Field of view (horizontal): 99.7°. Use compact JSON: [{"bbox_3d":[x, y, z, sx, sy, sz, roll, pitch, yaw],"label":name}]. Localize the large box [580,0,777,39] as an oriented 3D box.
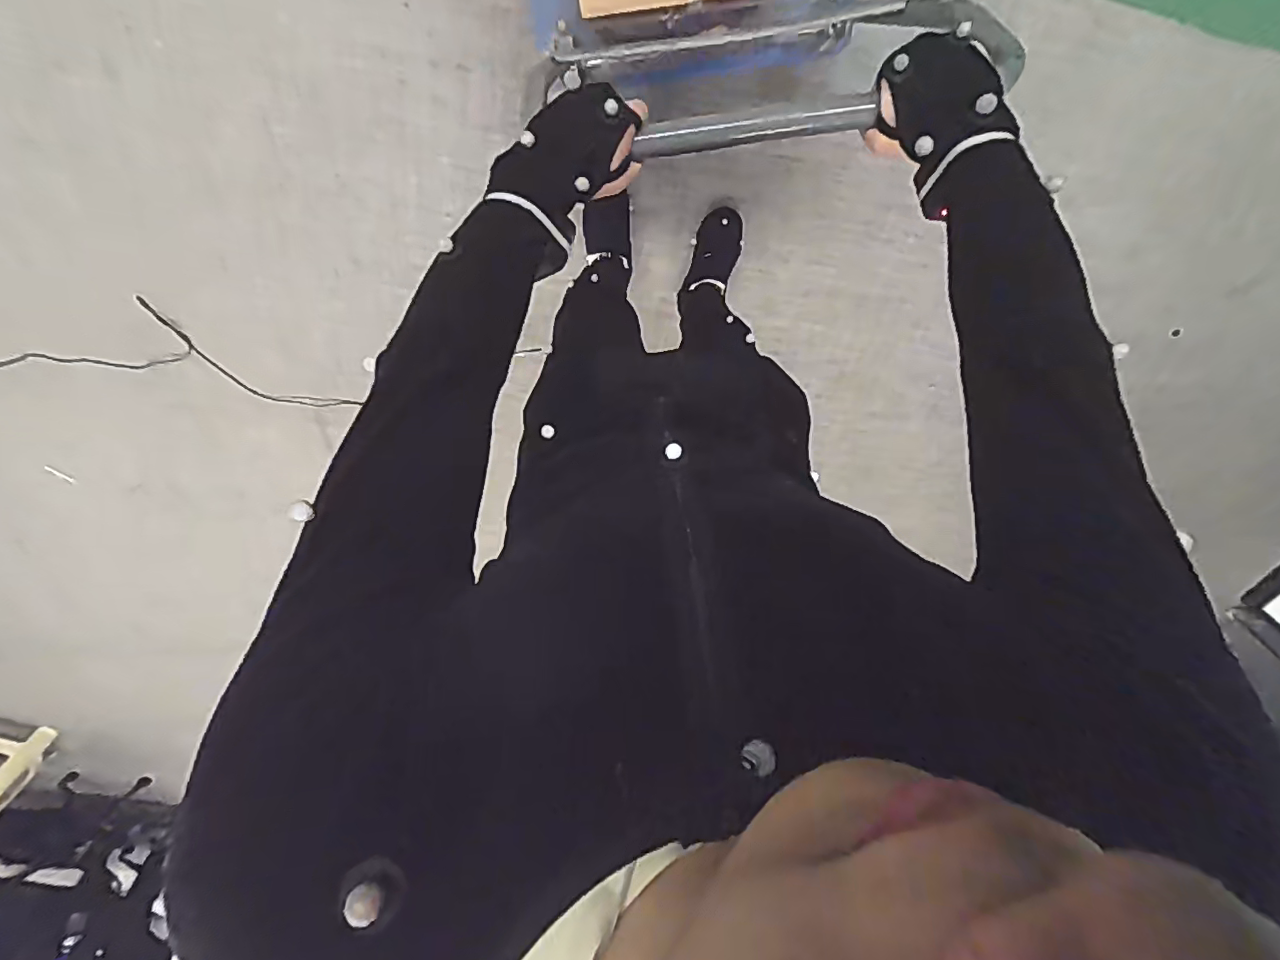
[{"bbox_3d":[0.049,-0.912,0.765,0.320,0.320,0.408,-6,126,3],"label":"large box"}]
